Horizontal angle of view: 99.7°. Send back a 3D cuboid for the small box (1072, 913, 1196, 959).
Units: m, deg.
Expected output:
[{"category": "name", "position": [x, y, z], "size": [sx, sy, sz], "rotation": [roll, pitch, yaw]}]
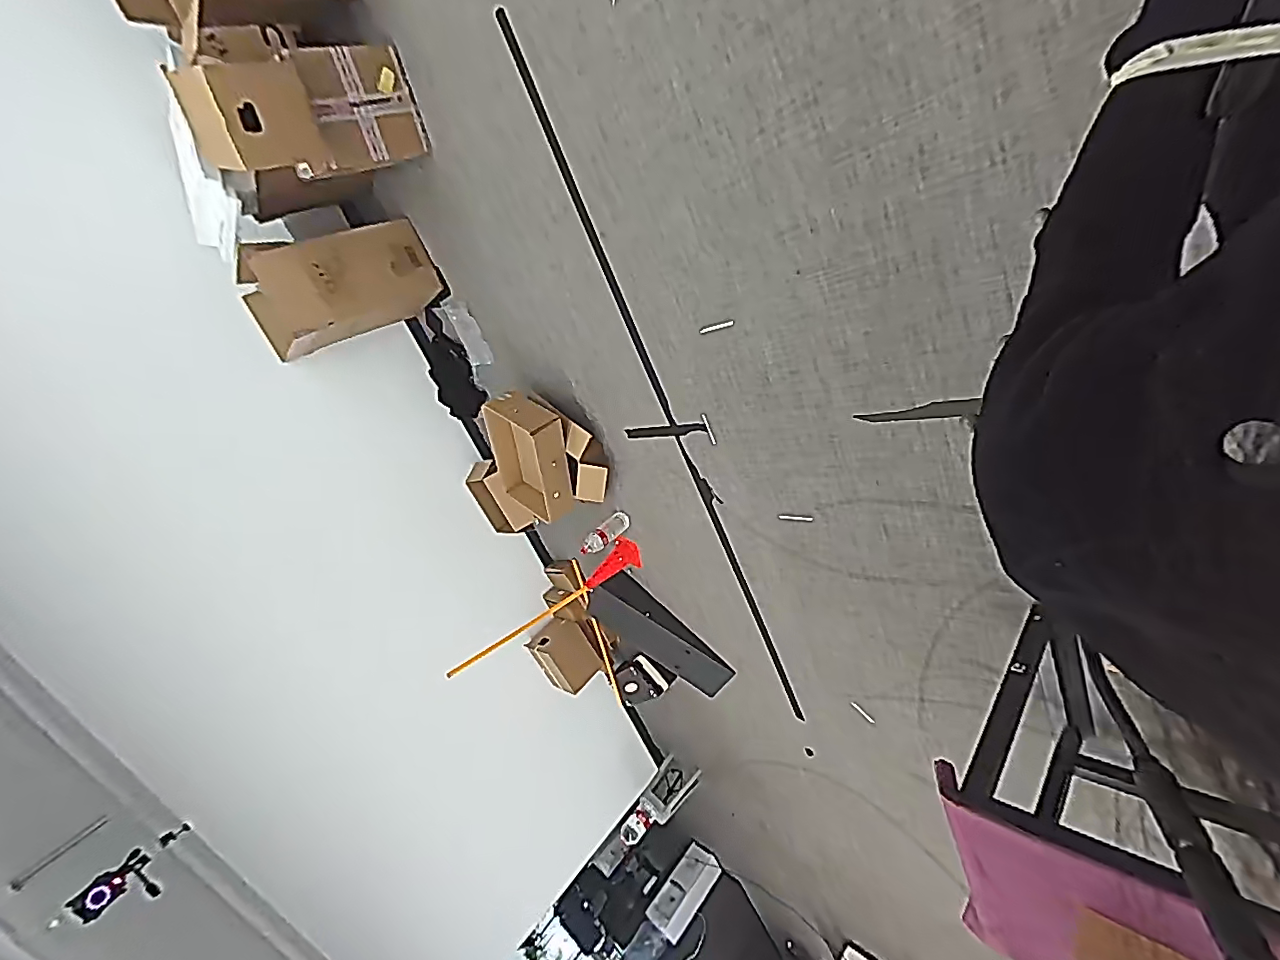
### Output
[{"category": "small box", "position": [0.946, 0.984, 1.033], "size": [0.179, 0.176, 0.168], "rotation": [3, 124, 49]}]
